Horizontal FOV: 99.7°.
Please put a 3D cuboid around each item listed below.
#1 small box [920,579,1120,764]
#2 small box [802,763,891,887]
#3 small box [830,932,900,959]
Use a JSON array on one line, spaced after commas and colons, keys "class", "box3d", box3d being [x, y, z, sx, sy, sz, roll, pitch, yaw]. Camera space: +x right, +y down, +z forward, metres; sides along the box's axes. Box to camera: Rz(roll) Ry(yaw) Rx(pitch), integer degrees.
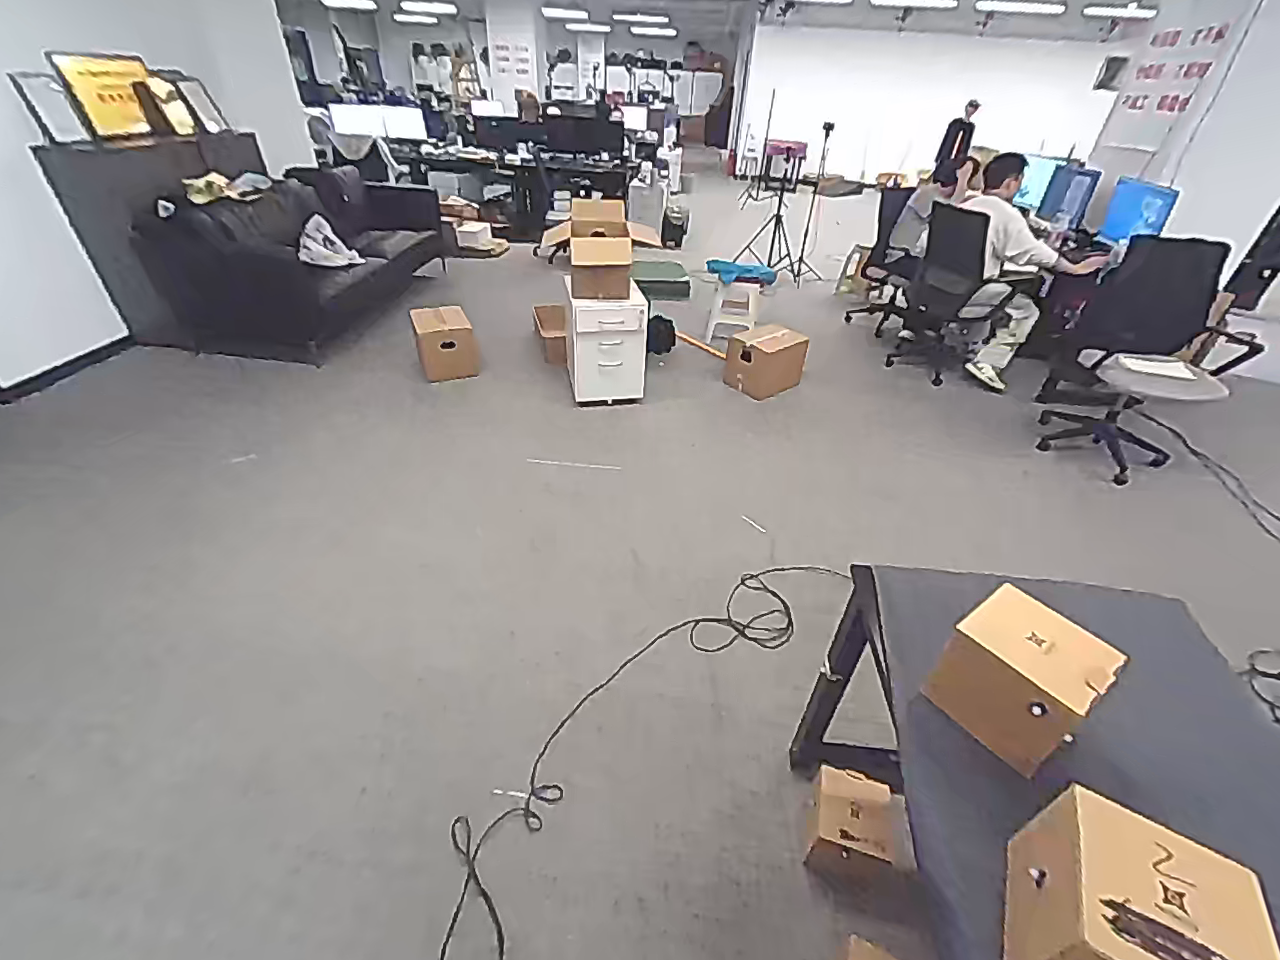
[{"class": "small box", "box3d": [0.576, 0.294, 0.843, 0.168, 0.176, 0.179, -21, 43, -30]}, {"class": "small box", "box3d": [0.500, 0.842, 1.322, 0.168, 0.176, 0.179, 13, 36, 13]}, {"class": "small box", "box3d": [0.451, 1.040, 1.041, 0.168, 0.176, 0.179, 18, 37, 19]}]
